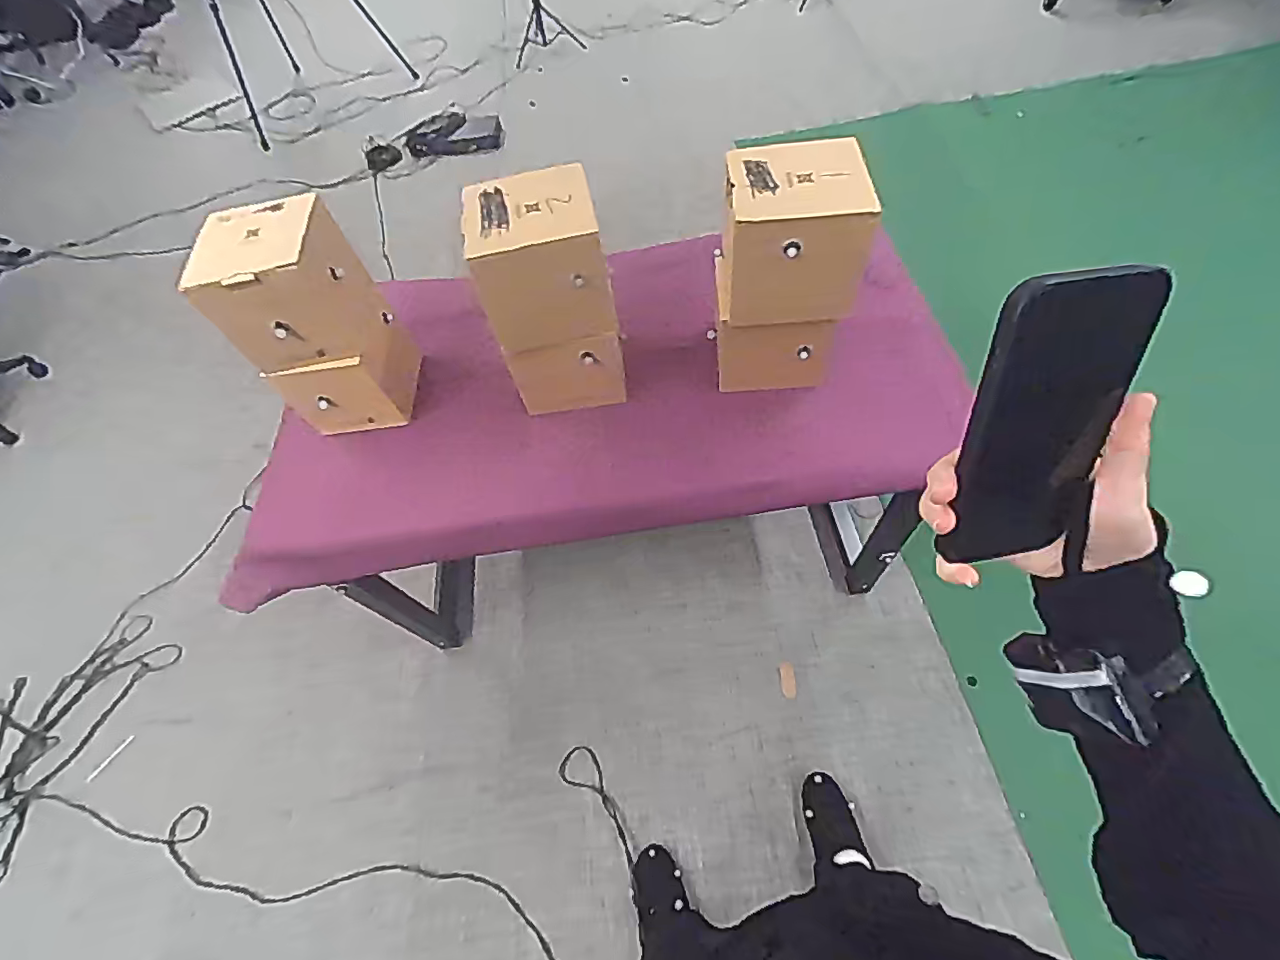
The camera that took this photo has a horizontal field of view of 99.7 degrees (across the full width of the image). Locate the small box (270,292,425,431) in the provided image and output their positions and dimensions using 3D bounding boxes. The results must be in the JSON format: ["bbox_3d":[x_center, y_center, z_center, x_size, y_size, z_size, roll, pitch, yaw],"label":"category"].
[{"bbox_3d":[-0.505,-0.201,0.965,0.168,0.176,0.179,-7,58,4],"label":"small box"}]

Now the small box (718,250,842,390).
[{"bbox_3d":[0.222,-0.267,0.904,0.179,0.176,0.168,-2,59,7],"label":"small box"}]

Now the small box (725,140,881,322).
[{"bbox_3d":[0.212,-0.339,0.756,0.179,0.176,0.168,-2,59,6],"label":"small box"}]

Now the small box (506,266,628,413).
[{"bbox_3d":[-0.117,-0.235,0.930,0.179,0.176,0.168,-8,58,4],"label":"small box"}]

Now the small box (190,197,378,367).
[{"bbox_3d":[-0.525,-0.292,0.829,0.168,0.176,0.179,-11,59,0],"label":"small box"}]
